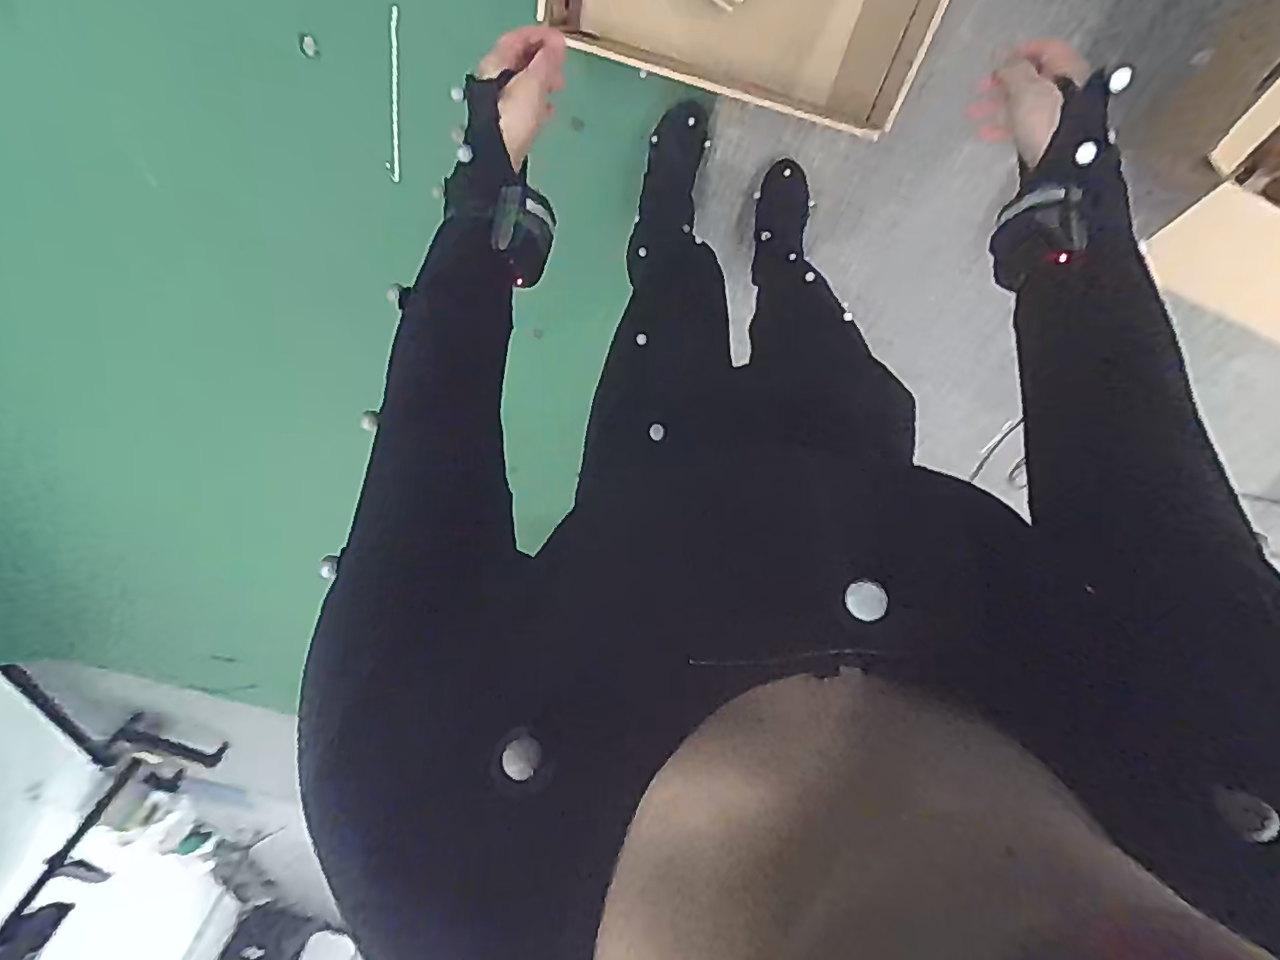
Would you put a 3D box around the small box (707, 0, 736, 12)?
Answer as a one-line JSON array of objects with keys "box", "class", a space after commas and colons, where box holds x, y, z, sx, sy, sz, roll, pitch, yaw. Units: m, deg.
[{"box": [0.109, -0.867, 0.832, 0.179, 0.176, 0.168, 24, 128, -13], "class": "small box"}]

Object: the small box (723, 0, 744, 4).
[{"box": [0.102, -0.765, 0.702, 0.168, 0.176, 0.179, 22, 130, -10], "class": "small box"}]
